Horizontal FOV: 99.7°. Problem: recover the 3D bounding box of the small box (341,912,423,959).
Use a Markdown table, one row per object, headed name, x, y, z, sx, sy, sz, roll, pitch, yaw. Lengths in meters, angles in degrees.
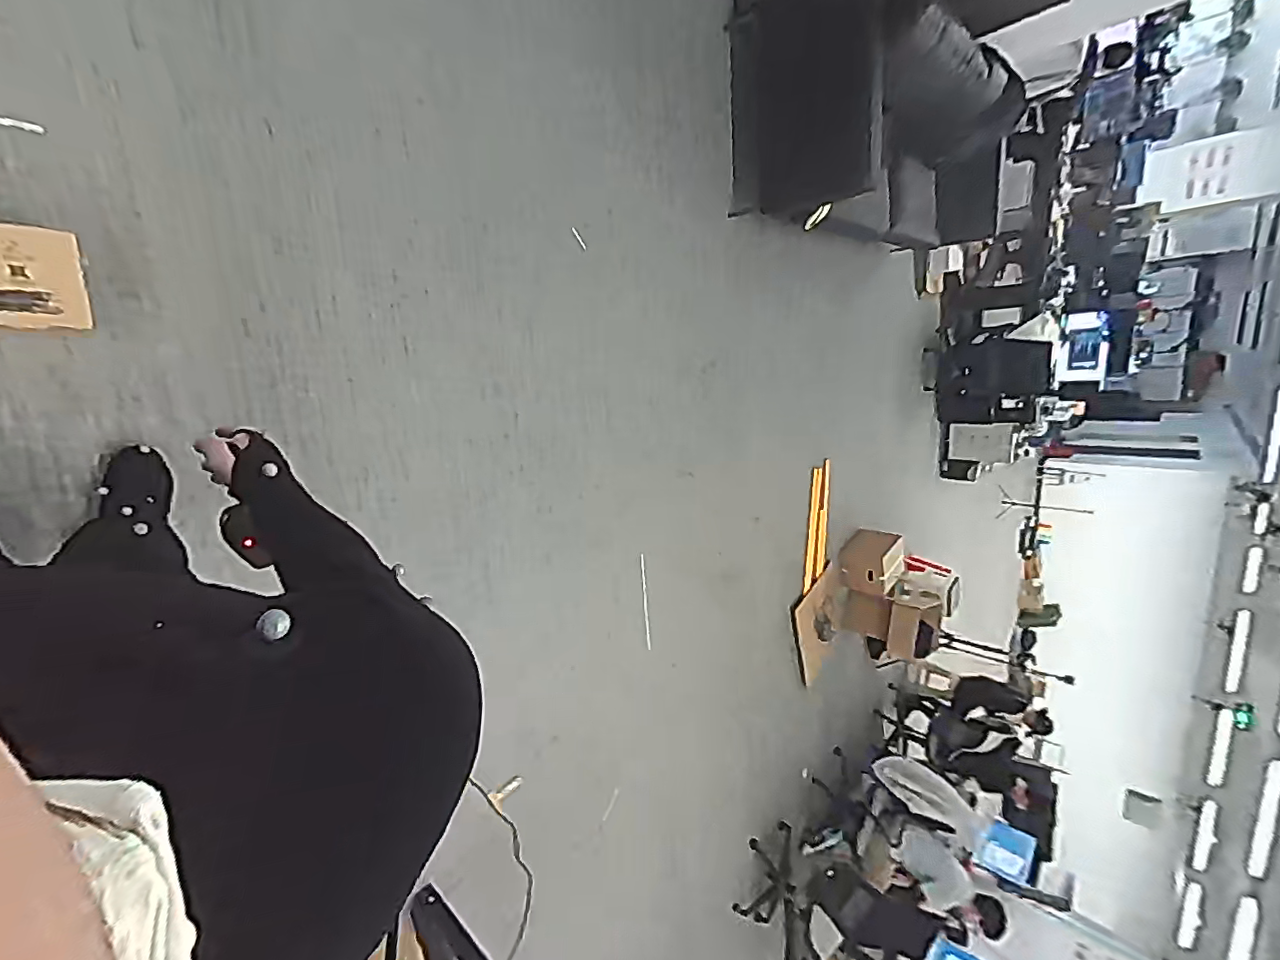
| name | x | y | z | sx | sy | sz | roll | pitch | yaw |
| --- | --- | --- | --- | --- | --- | --- | --- | --- | --- |
| small box | -0.782 | 1.489 | 1.651 | 0.179 | 0.176 | 0.168 | -17 | 108 | -43 |
